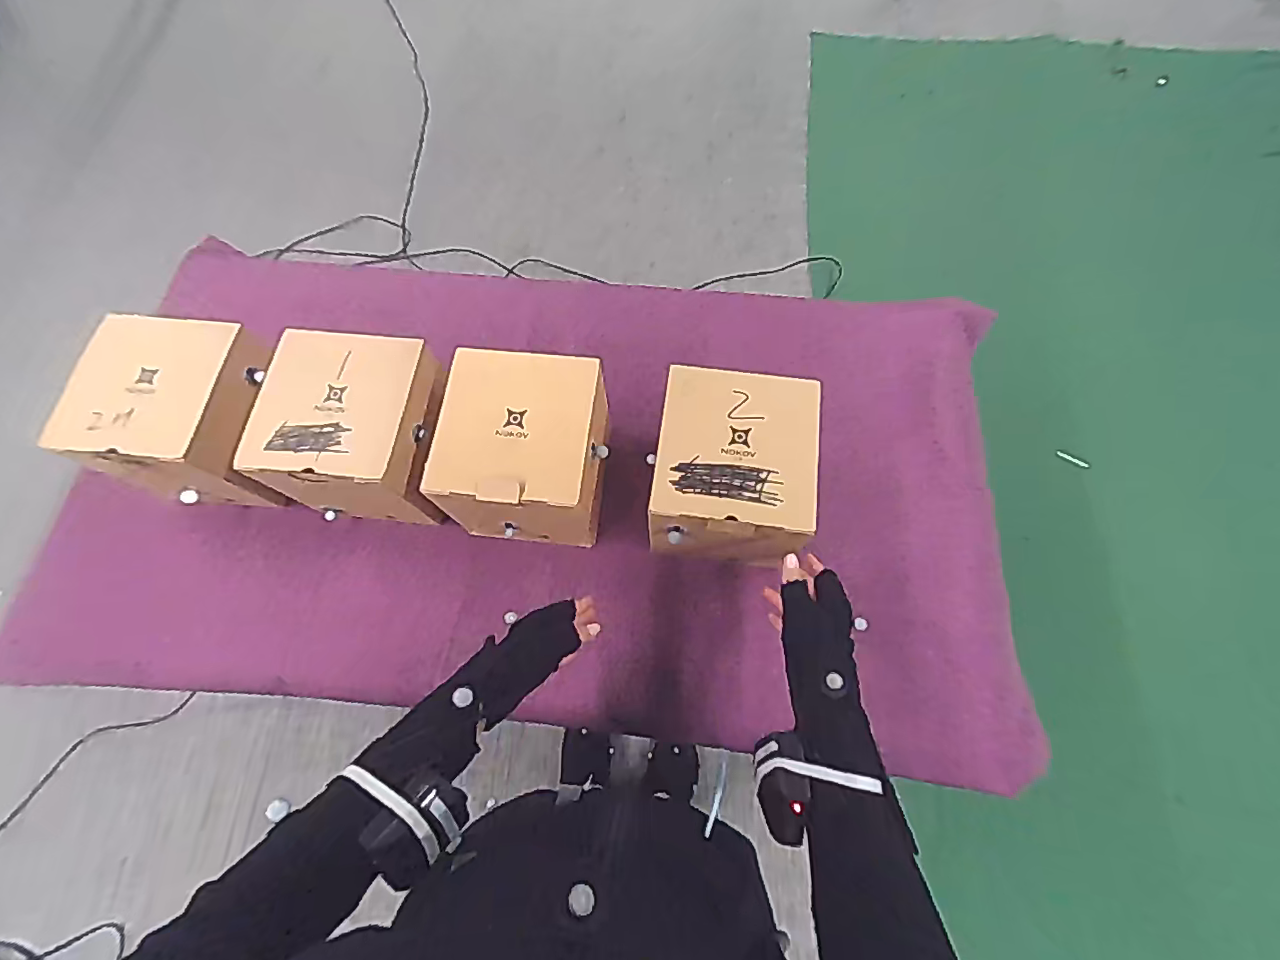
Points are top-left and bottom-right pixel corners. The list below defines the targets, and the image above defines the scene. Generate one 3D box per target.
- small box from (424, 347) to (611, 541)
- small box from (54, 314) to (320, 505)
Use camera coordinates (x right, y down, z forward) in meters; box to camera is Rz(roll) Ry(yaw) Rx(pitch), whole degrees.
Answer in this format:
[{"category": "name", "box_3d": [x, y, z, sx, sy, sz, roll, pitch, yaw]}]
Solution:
[{"category": "small box", "box_3d": [-0.131, -0.037, 0.657, 0.168, 0.176, 0.179, 5, 70, 5]}, {"category": "small box", "box_3d": [-0.542, -0.082, 0.682, 0.168, 0.176, 0.179, 5, 71, 4]}]
